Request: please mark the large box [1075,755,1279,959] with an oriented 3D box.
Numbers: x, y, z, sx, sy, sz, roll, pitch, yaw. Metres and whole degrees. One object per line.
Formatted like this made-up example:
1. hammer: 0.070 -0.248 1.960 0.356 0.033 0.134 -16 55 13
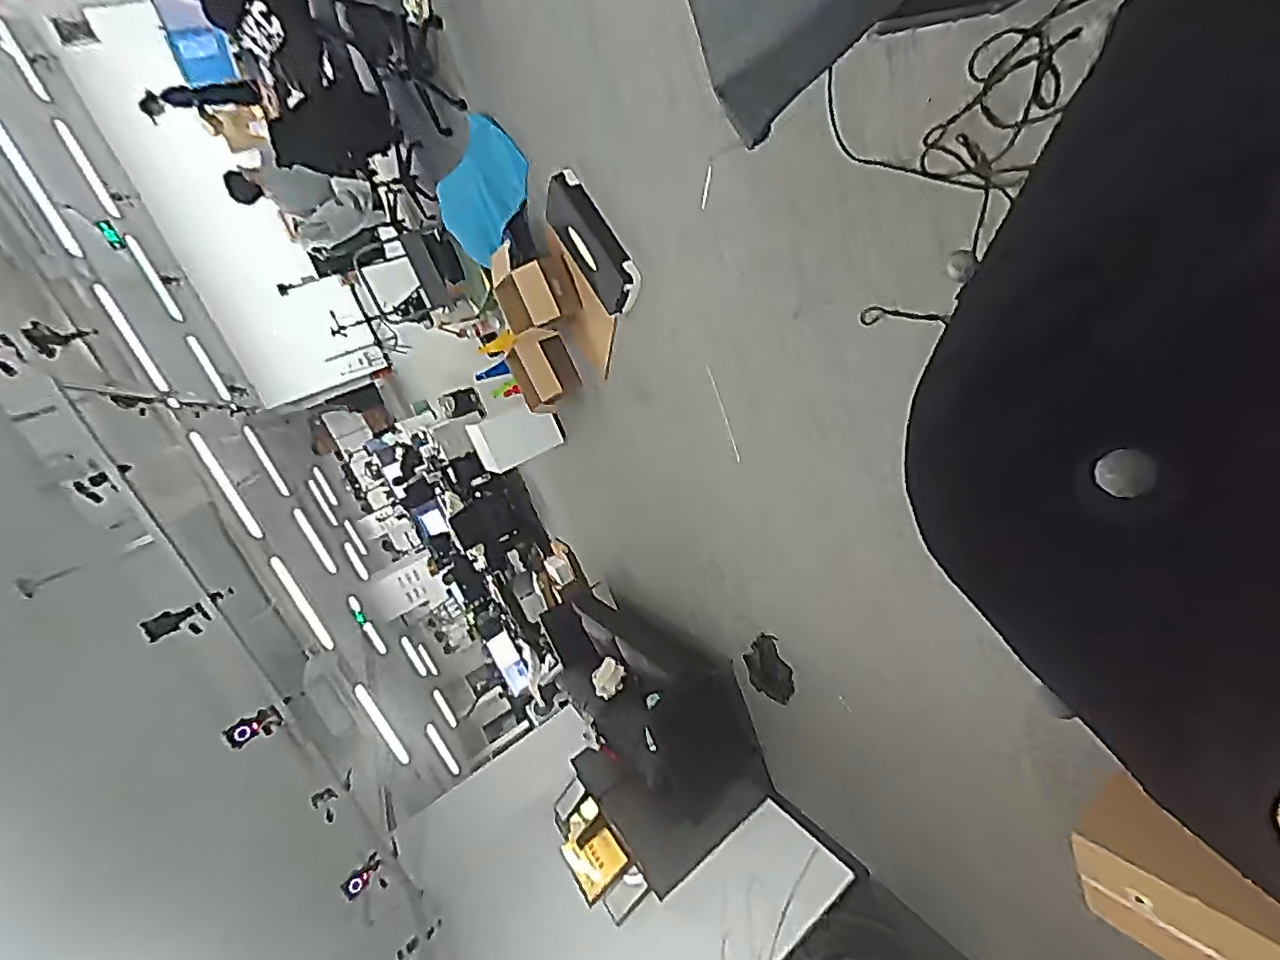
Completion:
1. large box: 1.430 0.999 1.363 0.408 0.320 0.320 10 125 63
